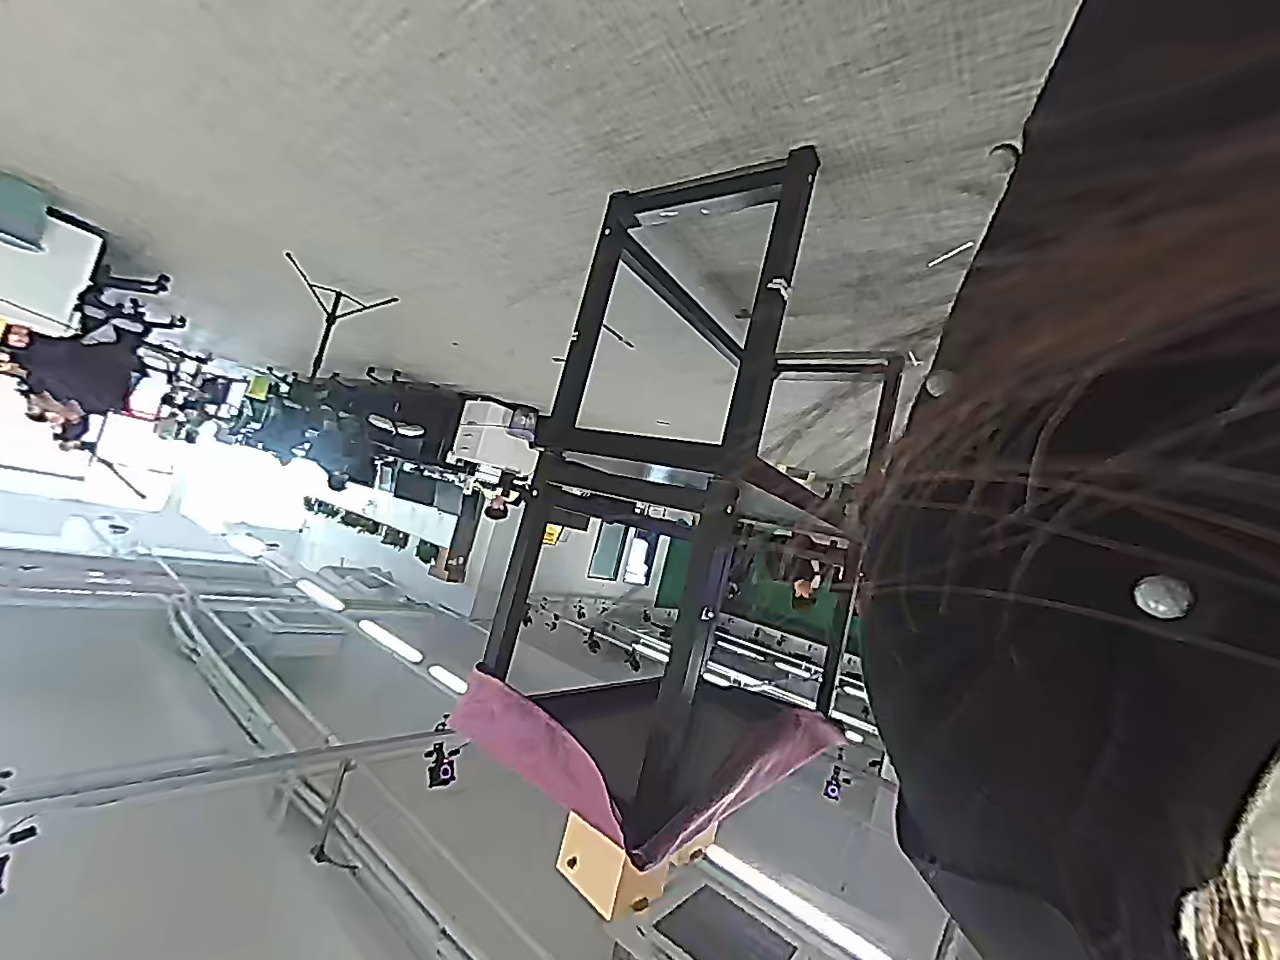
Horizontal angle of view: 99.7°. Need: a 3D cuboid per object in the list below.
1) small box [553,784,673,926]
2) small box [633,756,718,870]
[{"bbox_3d":[-0.055,0.786,1.161,0.179,0.176,0.168,10,174,44],"label":"small box"},{"bbox_3d":[0.084,0.836,1.380,0.179,0.176,0.168,10,173,41],"label":"small box"}]
